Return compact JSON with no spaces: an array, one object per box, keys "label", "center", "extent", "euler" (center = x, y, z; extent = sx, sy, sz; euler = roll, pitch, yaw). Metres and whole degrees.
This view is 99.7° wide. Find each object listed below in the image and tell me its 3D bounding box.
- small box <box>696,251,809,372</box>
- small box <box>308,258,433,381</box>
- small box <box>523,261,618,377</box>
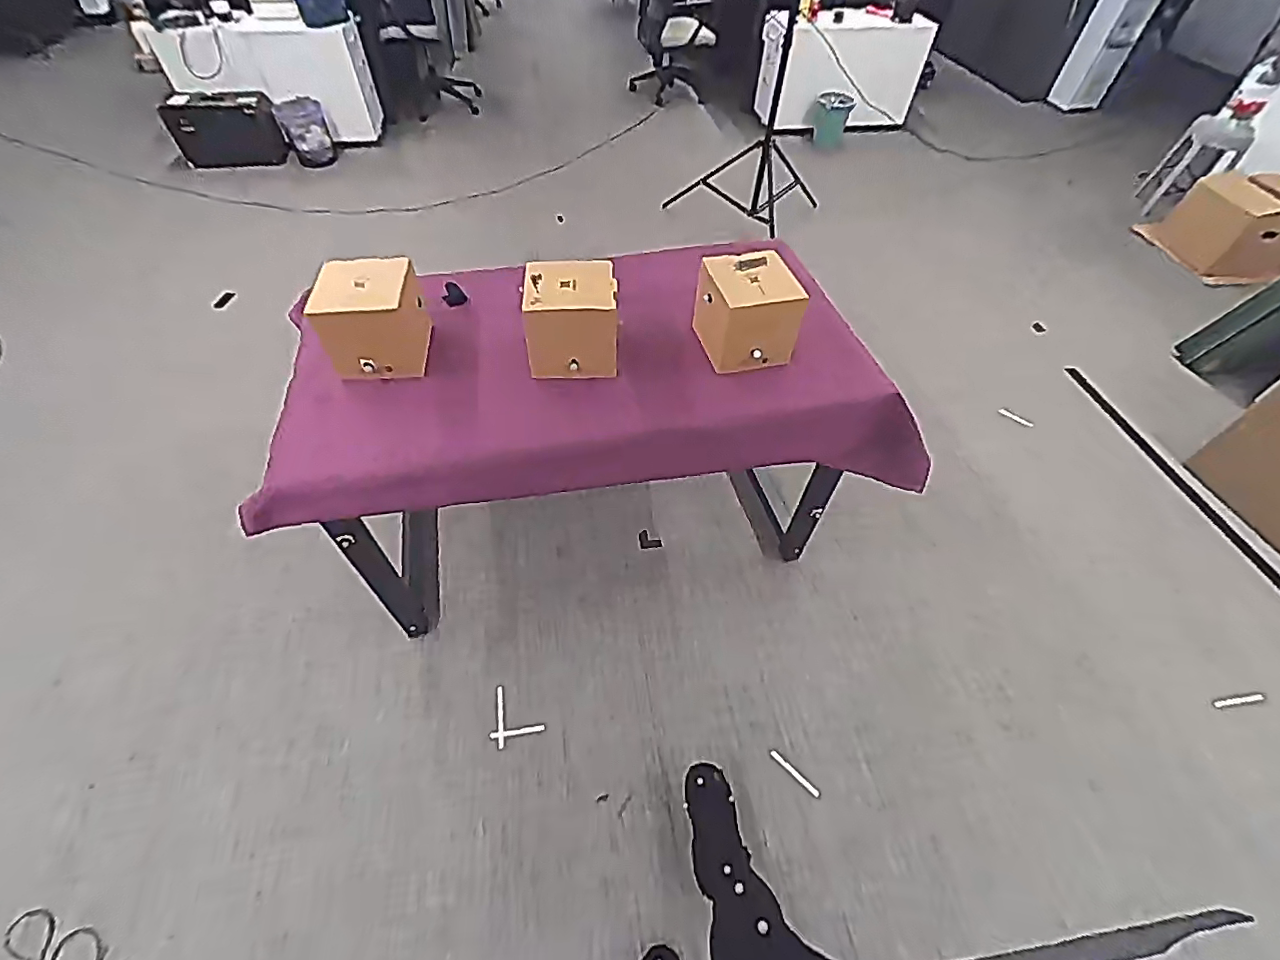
[{"label":"small box","center":[0.225,-0.353,1.139],"extent":[0.168,0.176,0.179],"euler":[-11,54,-10]},{"label":"small box","center":[-0.528,-0.322,1.088],"extent":[0.168,0.176,0.179],"euler":[-6,53,-5]},{"label":"small box","center":[-0.136,-0.325,1.106],"extent":[0.179,0.176,0.168],"euler":[-2,52,-4]}]
